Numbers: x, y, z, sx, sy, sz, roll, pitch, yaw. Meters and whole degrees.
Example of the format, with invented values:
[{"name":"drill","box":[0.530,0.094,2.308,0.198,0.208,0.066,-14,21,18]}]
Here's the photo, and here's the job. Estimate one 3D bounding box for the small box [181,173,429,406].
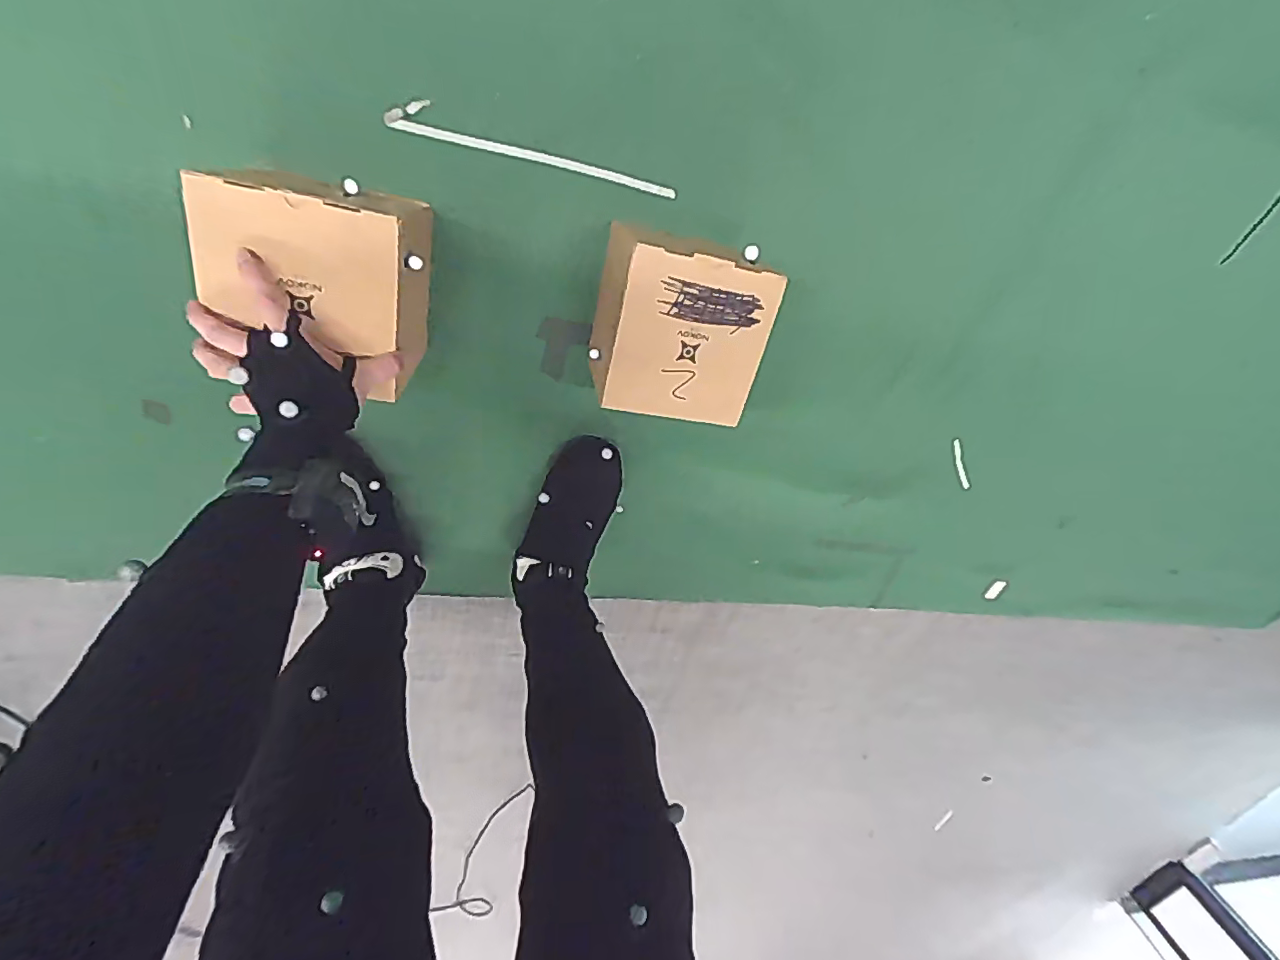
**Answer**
[{"name":"small box","box":[-0.320,-0.197,0.557,0.168,0.176,0.179,7,116,-14]}]
